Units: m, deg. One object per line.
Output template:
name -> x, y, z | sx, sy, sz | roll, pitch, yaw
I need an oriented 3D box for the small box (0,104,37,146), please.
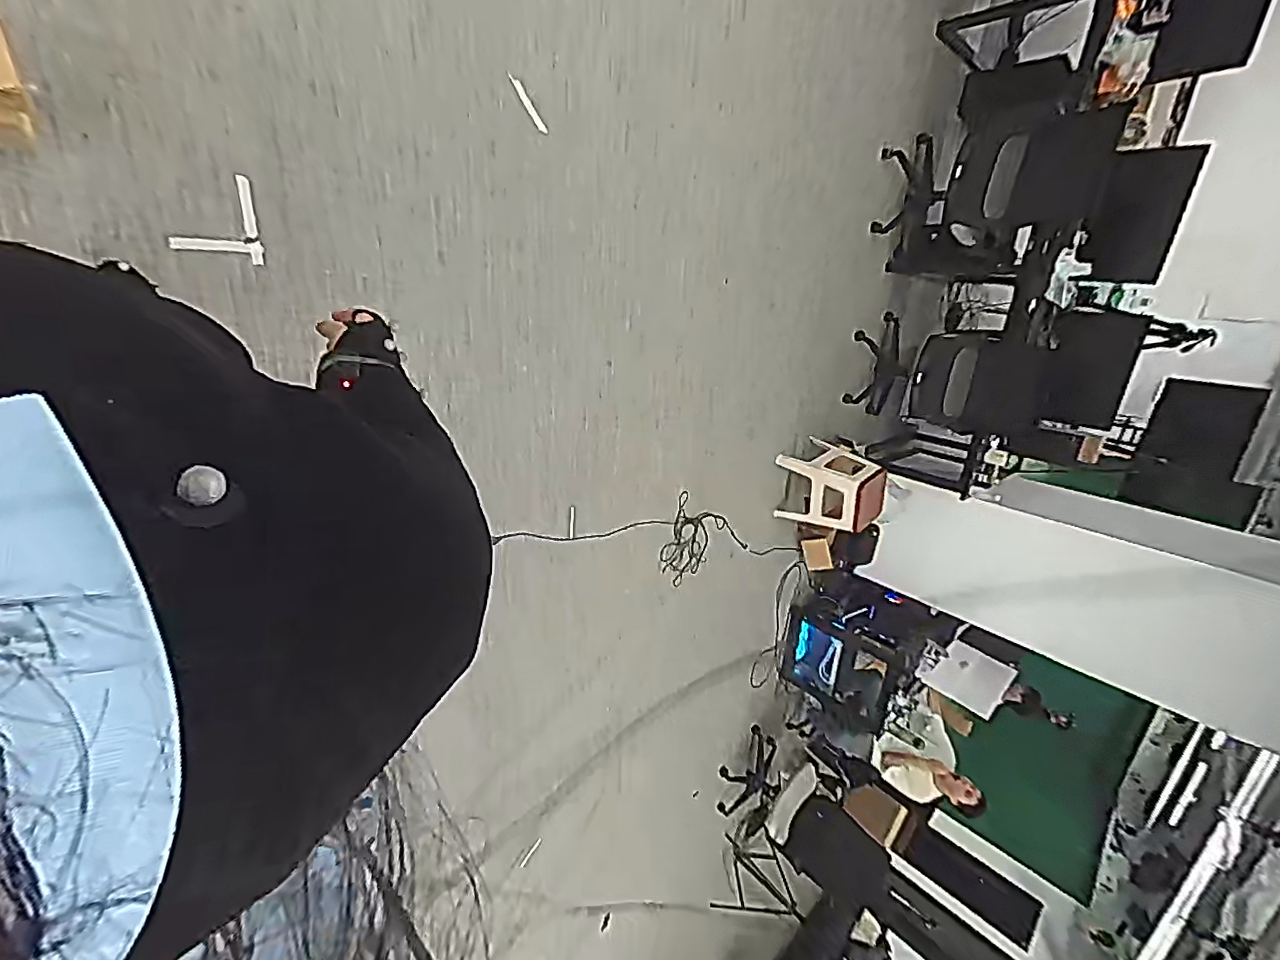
small box -> -1.041, -0.619, 0.802 | 0.168, 0.176, 0.179 | -15, 118, -42

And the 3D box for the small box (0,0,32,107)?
small box -> -0.810, -0.531, 0.583 | 0.168, 0.176, 0.179 | -19, 121, -39
